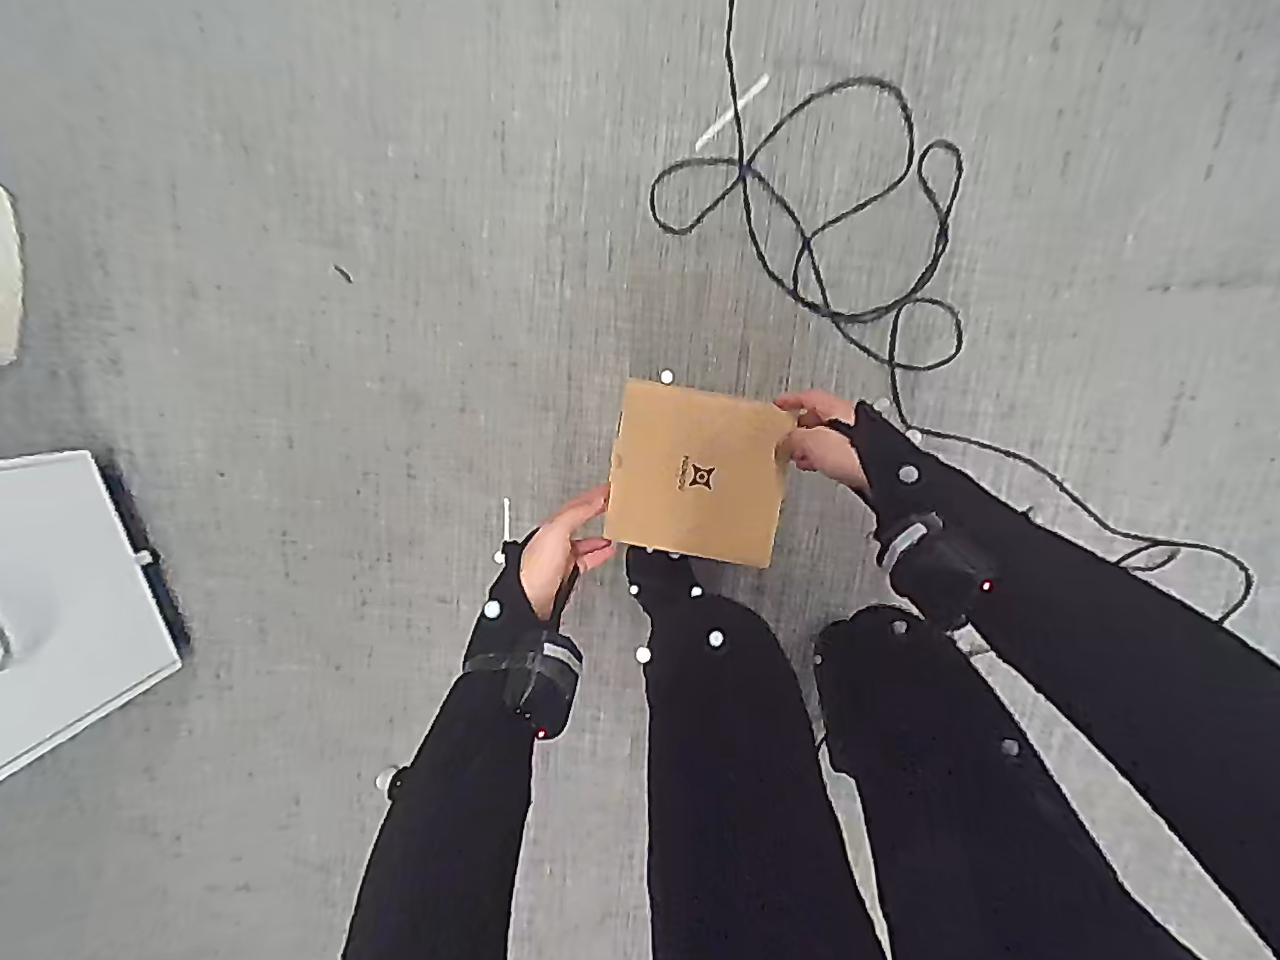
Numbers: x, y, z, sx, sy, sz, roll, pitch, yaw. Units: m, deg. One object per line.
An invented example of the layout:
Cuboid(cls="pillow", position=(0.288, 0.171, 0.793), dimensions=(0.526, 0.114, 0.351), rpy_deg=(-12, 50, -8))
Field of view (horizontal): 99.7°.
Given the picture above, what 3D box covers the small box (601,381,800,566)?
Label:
Cuboid(cls="small box", position=(0.065, -0.017, 0.620), dimensions=(0.179, 0.176, 0.168), rpy_deg=(10, 99, 5))
